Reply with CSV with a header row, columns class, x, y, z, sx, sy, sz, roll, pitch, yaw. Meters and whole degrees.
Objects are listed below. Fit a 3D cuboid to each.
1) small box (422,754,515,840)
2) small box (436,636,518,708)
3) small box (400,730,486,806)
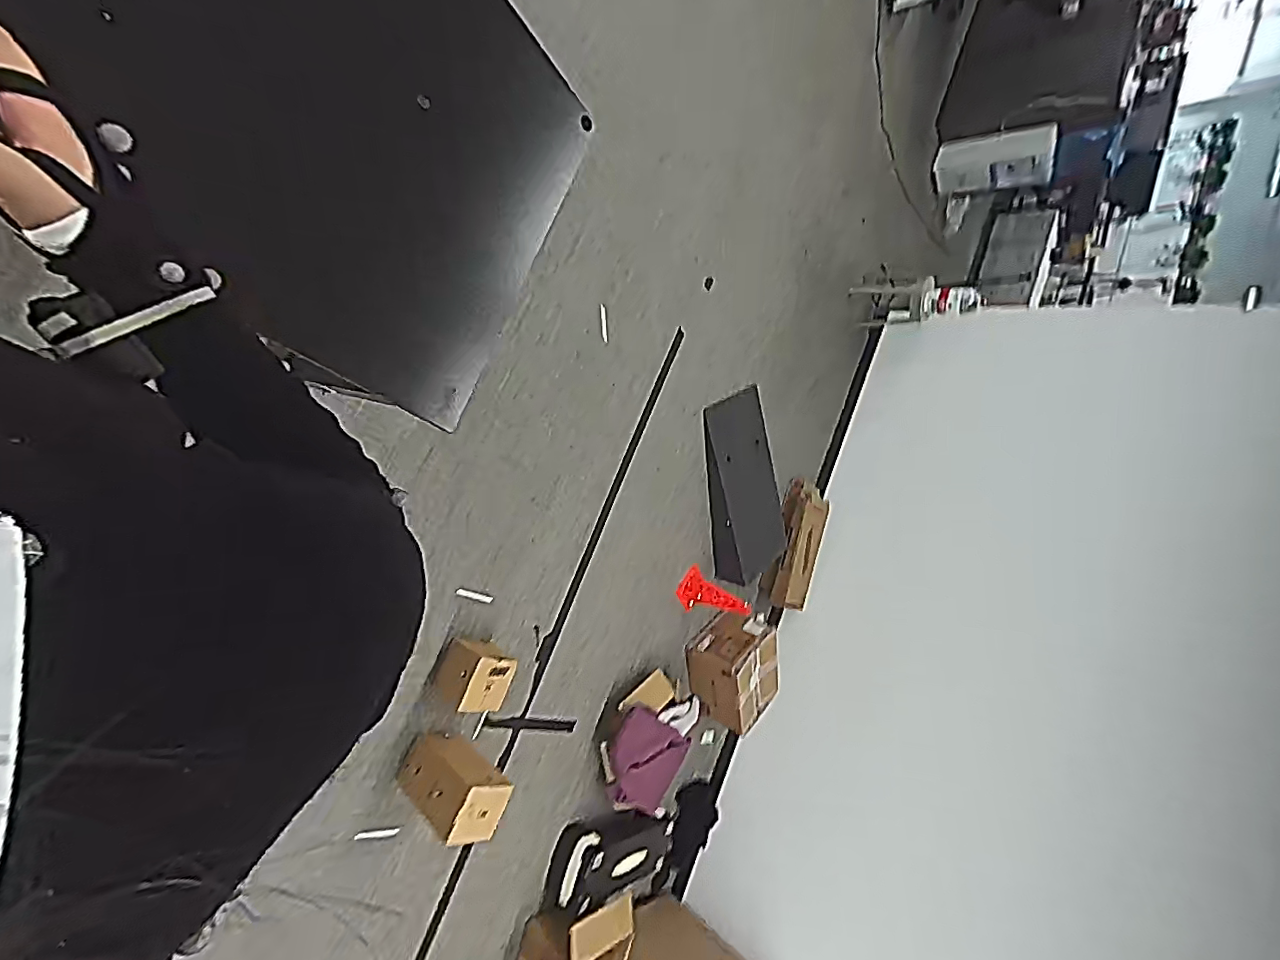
class,x,y,z,sx,sy,sz,roll,pitch,yaw
small box,-0.527,0.962,1.656,0.179,0.176,0.168,36,74,-48
small box,-0.544,0.633,1.791,0.168,0.176,0.179,31,78,-49
small box,-0.649,0.936,1.767,0.179,0.176,0.168,33,75,-48
